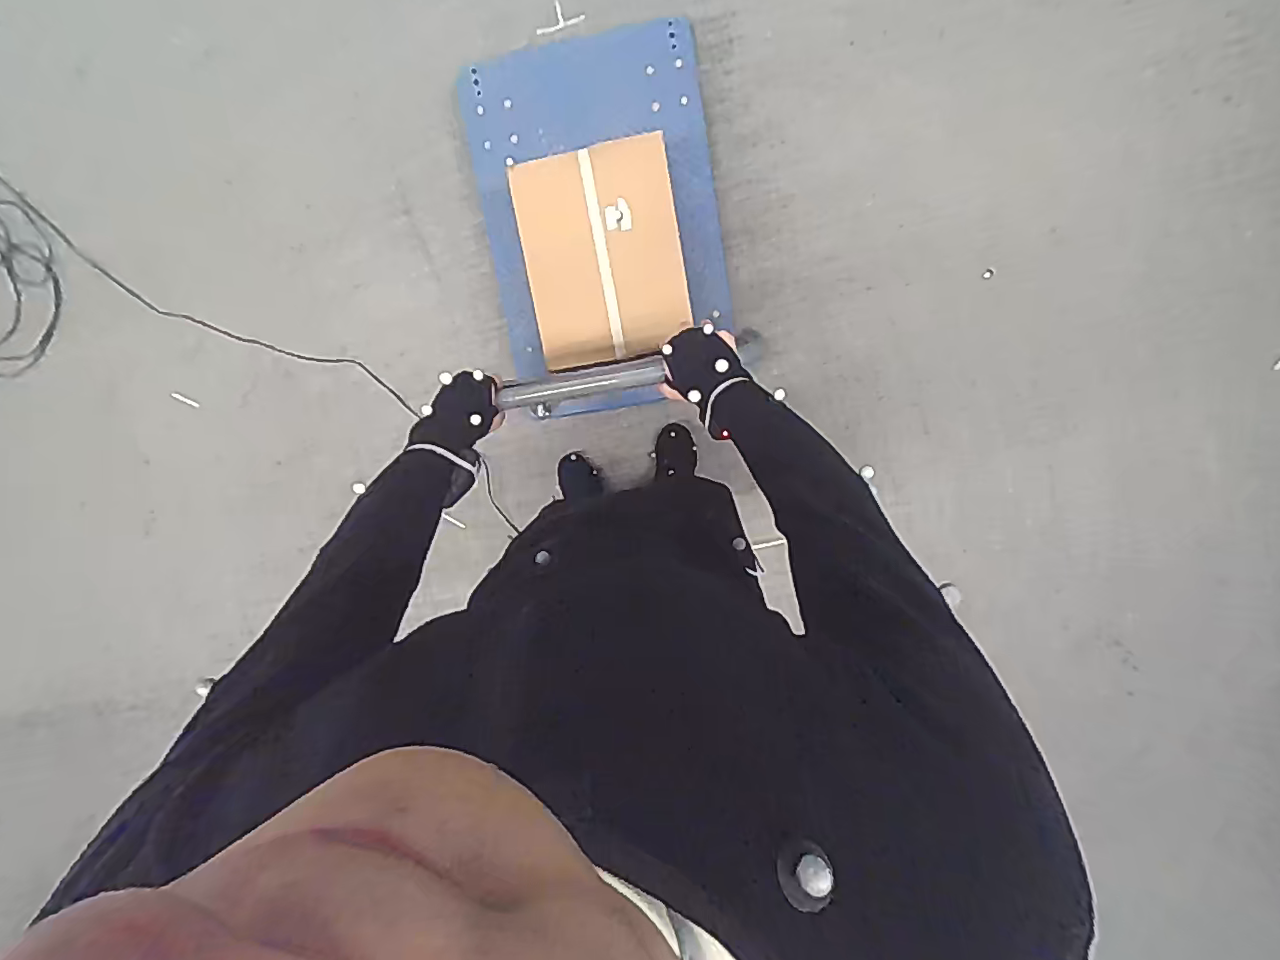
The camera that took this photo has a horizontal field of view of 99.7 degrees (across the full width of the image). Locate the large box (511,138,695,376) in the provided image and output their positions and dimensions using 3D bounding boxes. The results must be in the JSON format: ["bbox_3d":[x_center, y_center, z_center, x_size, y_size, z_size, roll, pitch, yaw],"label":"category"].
[{"bbox_3d":[-0.061,-0.469,1.234,0.320,0.320,0.408,-9,98,5],"label":"large box"}]
